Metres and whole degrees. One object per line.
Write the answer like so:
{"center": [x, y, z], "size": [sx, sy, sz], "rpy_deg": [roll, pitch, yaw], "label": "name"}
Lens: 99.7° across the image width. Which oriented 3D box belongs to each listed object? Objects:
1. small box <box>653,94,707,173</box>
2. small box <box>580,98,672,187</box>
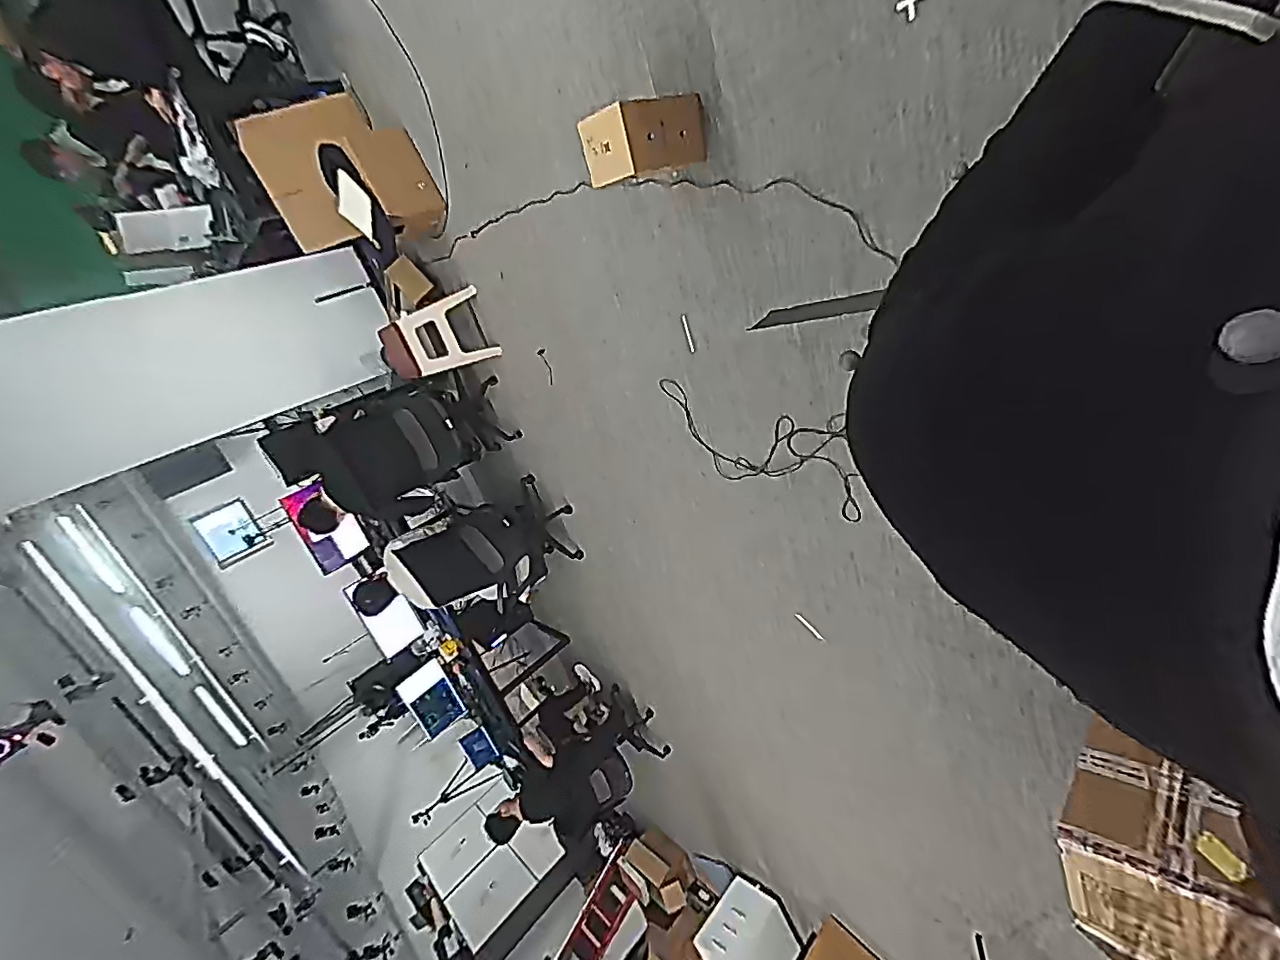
{"center": [0.074, -1.007, 1.580], "size": [0.168, 0.176, 0.179], "rpy_deg": [16, 130, 44], "label": "small box"}
{"center": [-0.031, -0.925, 1.482], "size": [0.179, 0.176, 0.168], "rpy_deg": [12, 125, 46], "label": "small box"}
